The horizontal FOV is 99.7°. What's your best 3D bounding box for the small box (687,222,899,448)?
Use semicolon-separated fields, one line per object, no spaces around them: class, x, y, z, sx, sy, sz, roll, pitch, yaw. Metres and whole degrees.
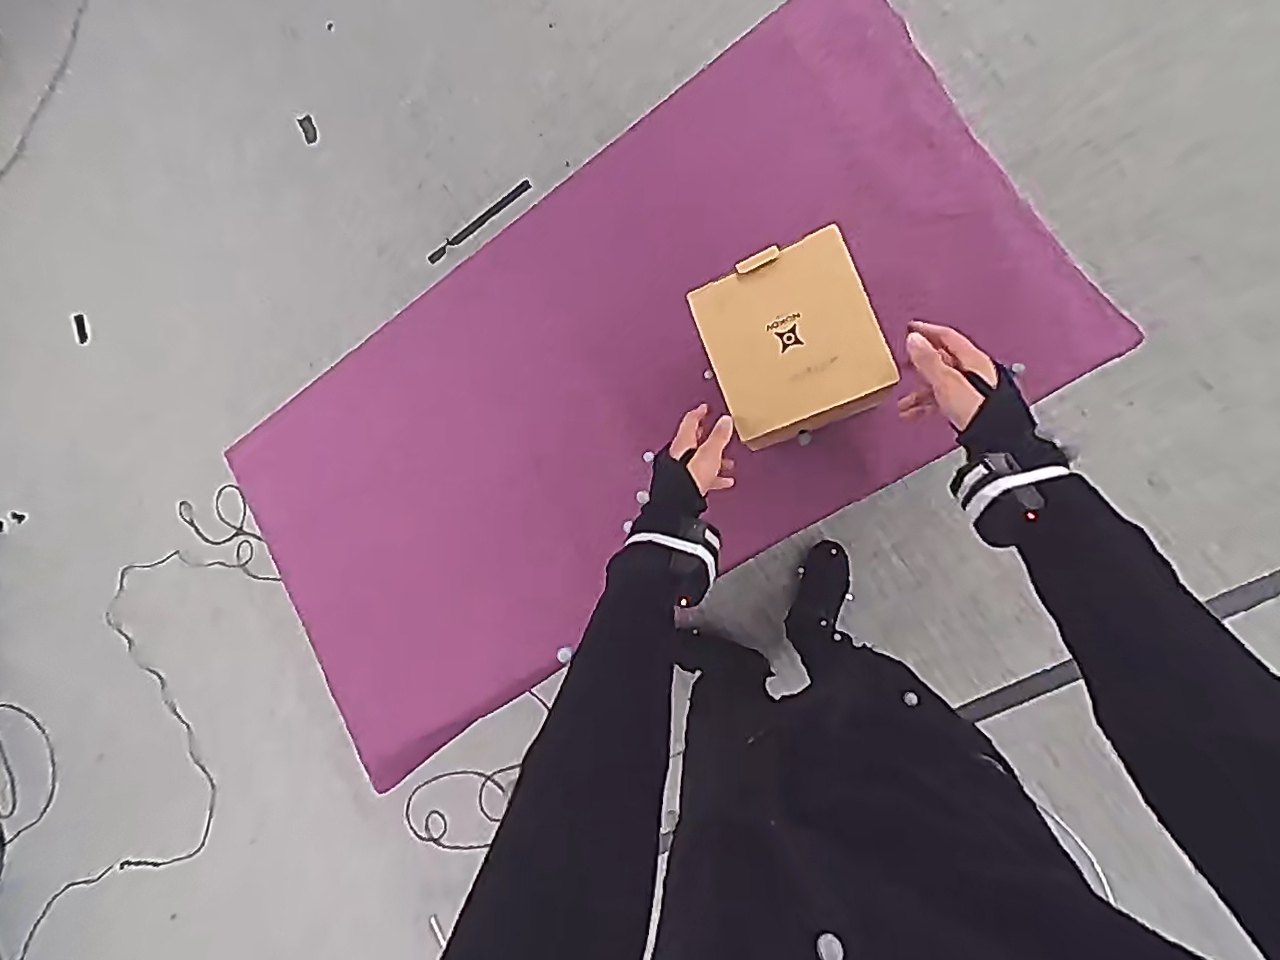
small box;0.170;-0.147;0.621;0.168;0.176;0.179;-21;84;16
